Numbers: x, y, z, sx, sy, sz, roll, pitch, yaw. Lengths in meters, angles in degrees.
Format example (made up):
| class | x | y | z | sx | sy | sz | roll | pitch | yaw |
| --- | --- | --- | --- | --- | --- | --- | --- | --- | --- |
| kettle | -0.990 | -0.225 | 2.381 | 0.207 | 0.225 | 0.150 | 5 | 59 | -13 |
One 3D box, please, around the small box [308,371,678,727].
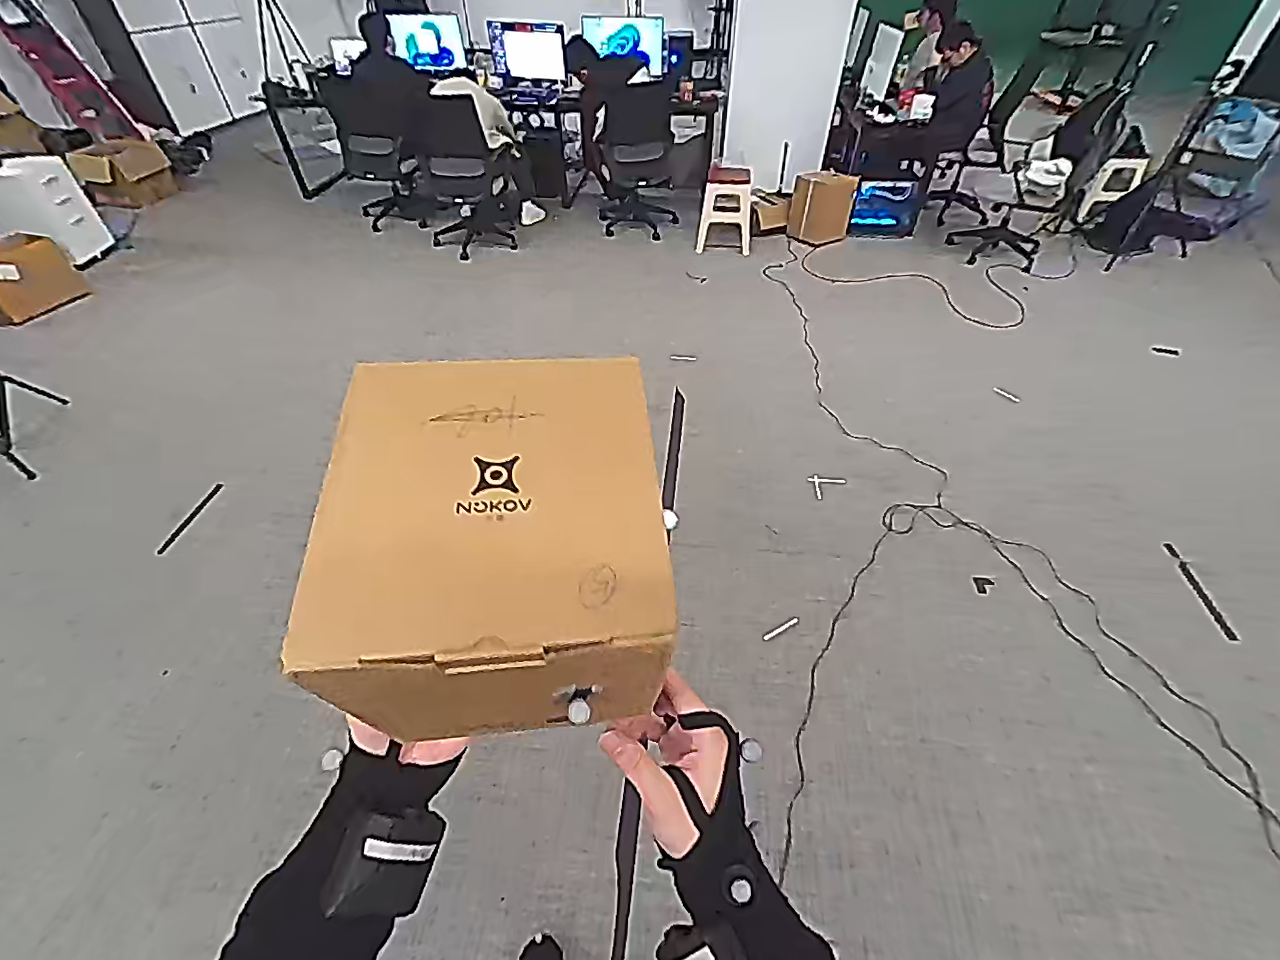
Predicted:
| class | x | y | z | sx | sy | sz | roll | pitch | yaw |
| --- | --- | --- | --- | --- | --- | --- | --- | --- | --- |
| small box | -0.076 | 0.051 | 0.349 | 0.168 | 0.176 | 0.179 | -2 | 55 | -8 |
